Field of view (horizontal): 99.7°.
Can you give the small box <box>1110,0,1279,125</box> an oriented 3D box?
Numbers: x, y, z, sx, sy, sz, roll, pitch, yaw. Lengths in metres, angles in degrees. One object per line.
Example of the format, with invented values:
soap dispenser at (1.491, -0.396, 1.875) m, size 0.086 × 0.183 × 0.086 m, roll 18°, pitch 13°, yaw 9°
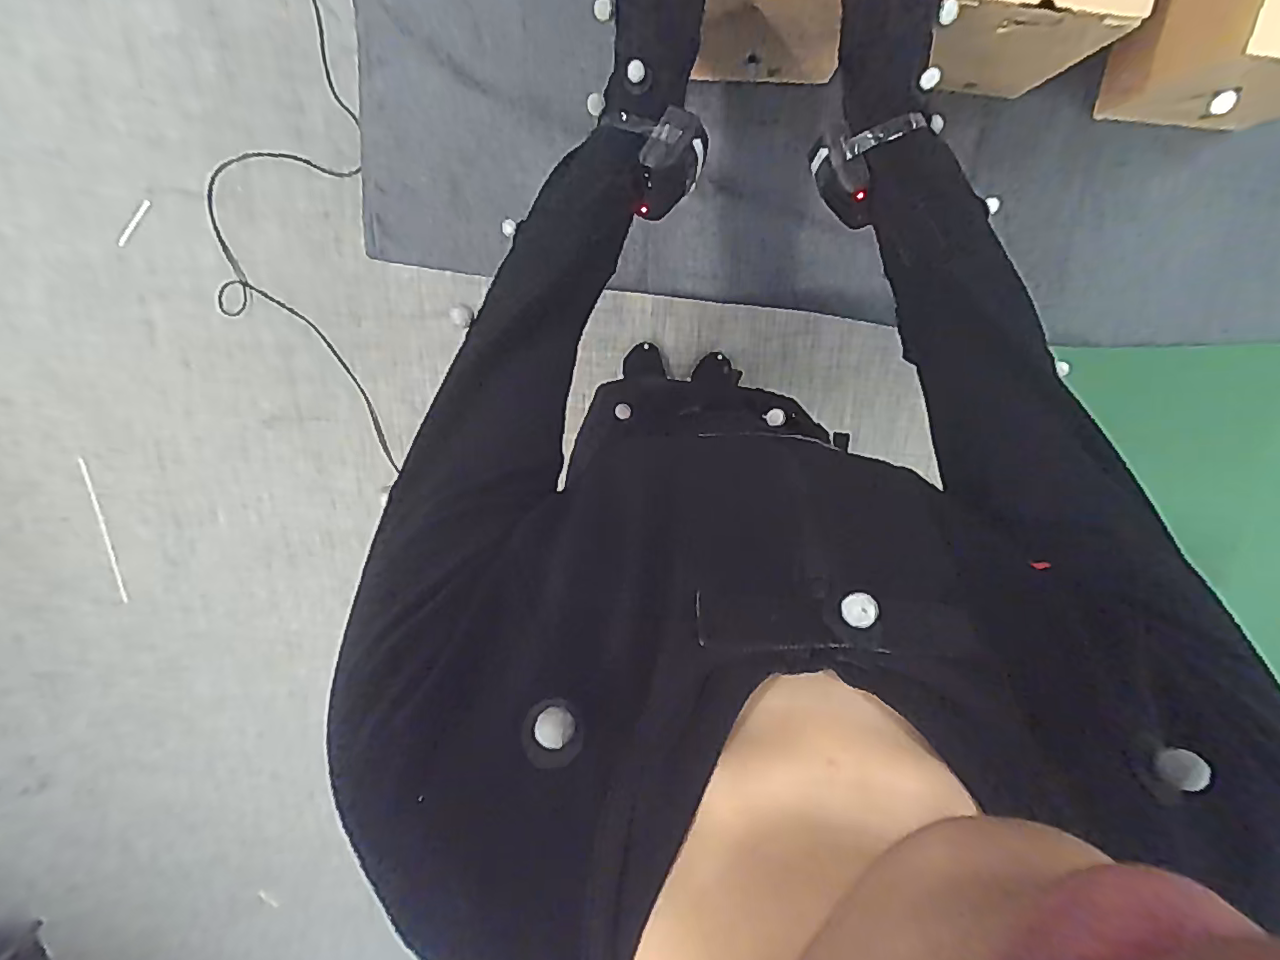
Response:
small box at (0.583, -0.443, 0.484) m, size 0.168 × 0.176 × 0.179 m, roll 5°, pitch 108°, yaw 1°
